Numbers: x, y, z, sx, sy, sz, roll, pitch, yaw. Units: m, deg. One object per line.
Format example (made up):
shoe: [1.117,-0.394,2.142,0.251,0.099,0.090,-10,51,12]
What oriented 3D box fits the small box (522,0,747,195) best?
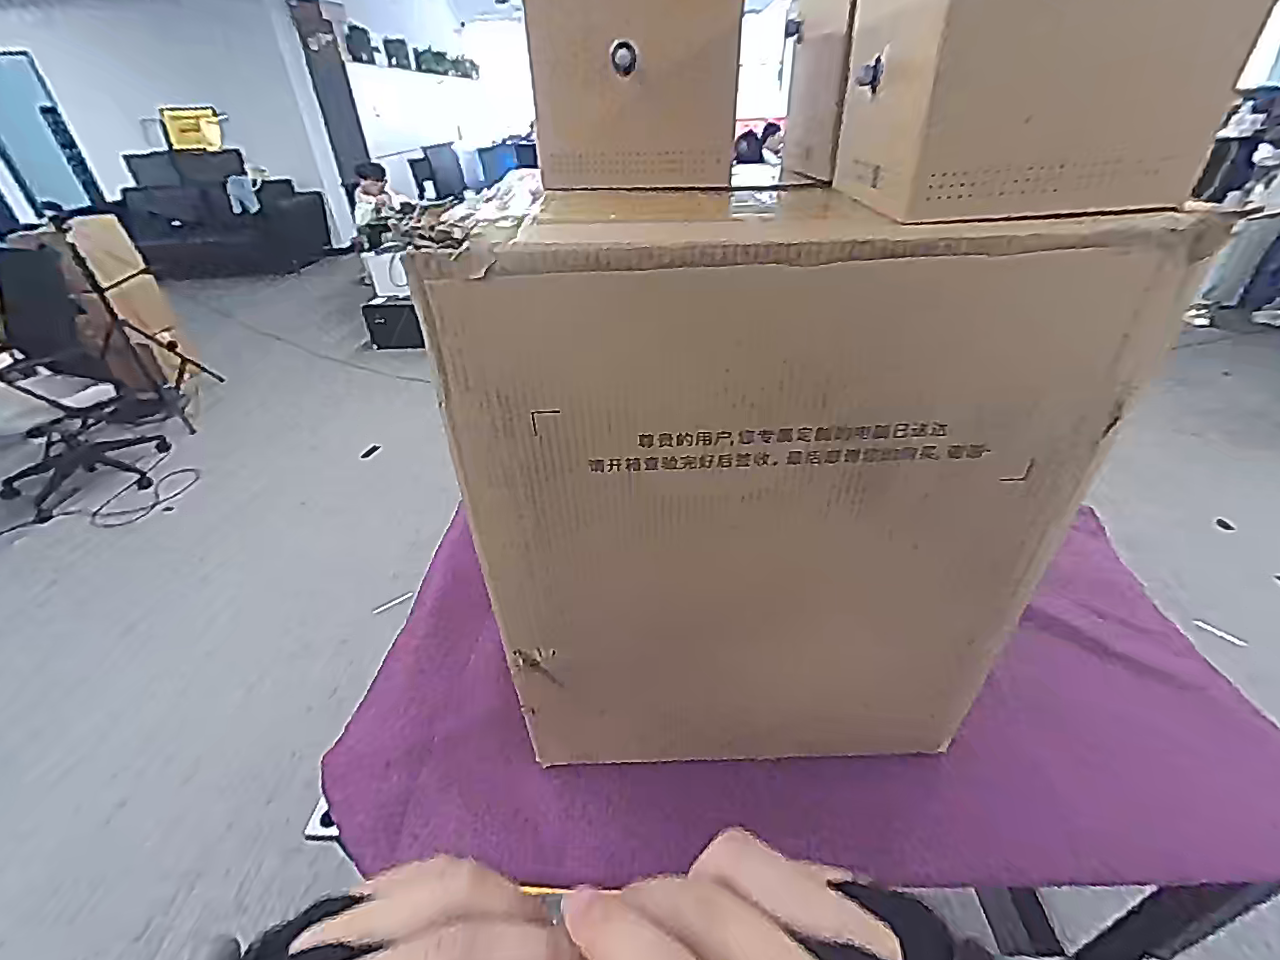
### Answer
small box: [0.003,-0.372,0.503,0.179,0.176,0.168,0,33,5]
